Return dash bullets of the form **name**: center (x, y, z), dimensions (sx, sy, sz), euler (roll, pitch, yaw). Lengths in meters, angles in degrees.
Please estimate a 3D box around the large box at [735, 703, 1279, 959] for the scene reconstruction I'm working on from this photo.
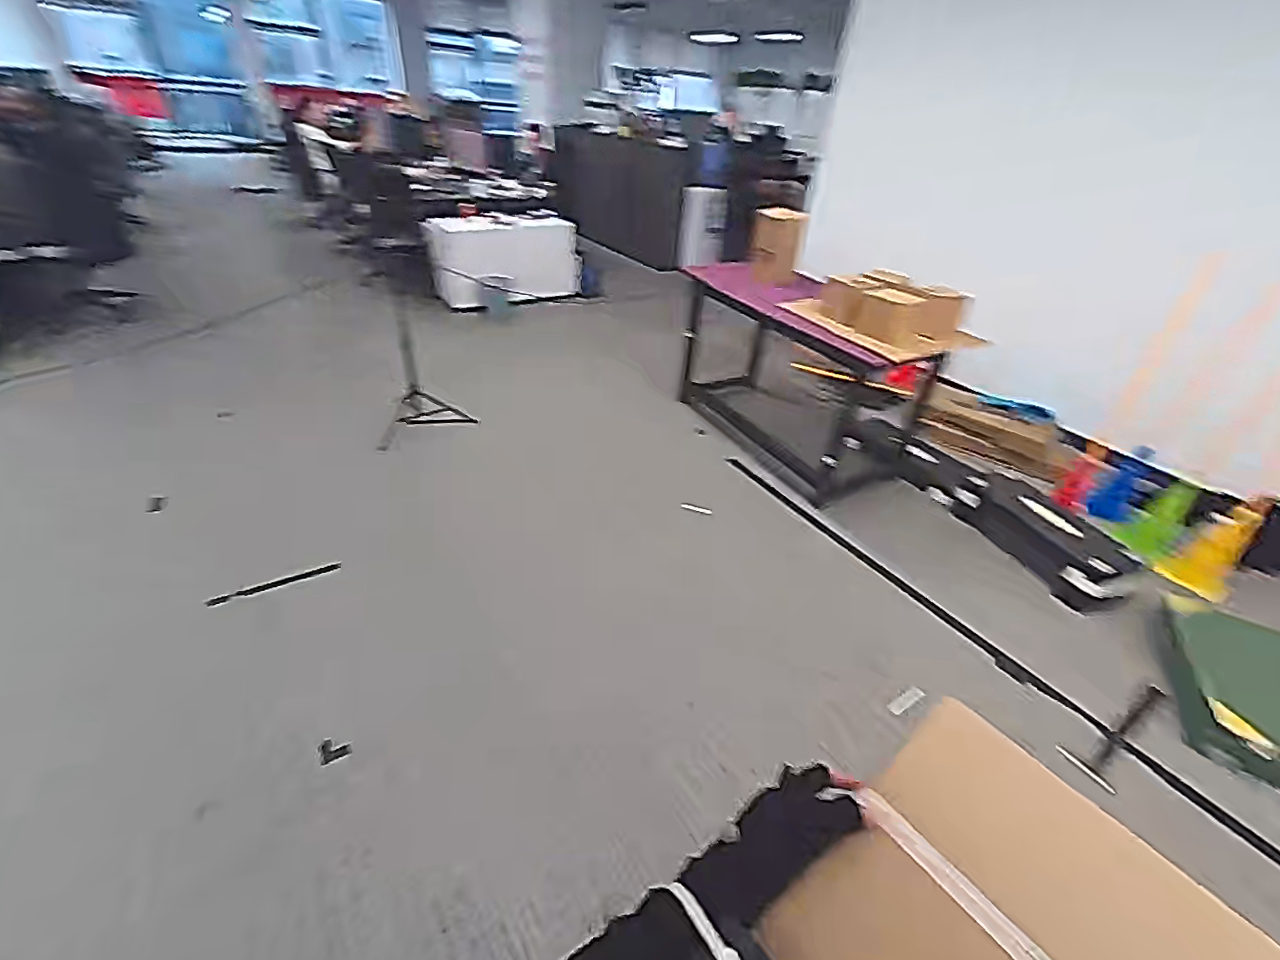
- **large box**: center (0.334, 0.508, 0.490), dimensions (0.320, 0.320, 0.408), euler (-29, 49, -28)
